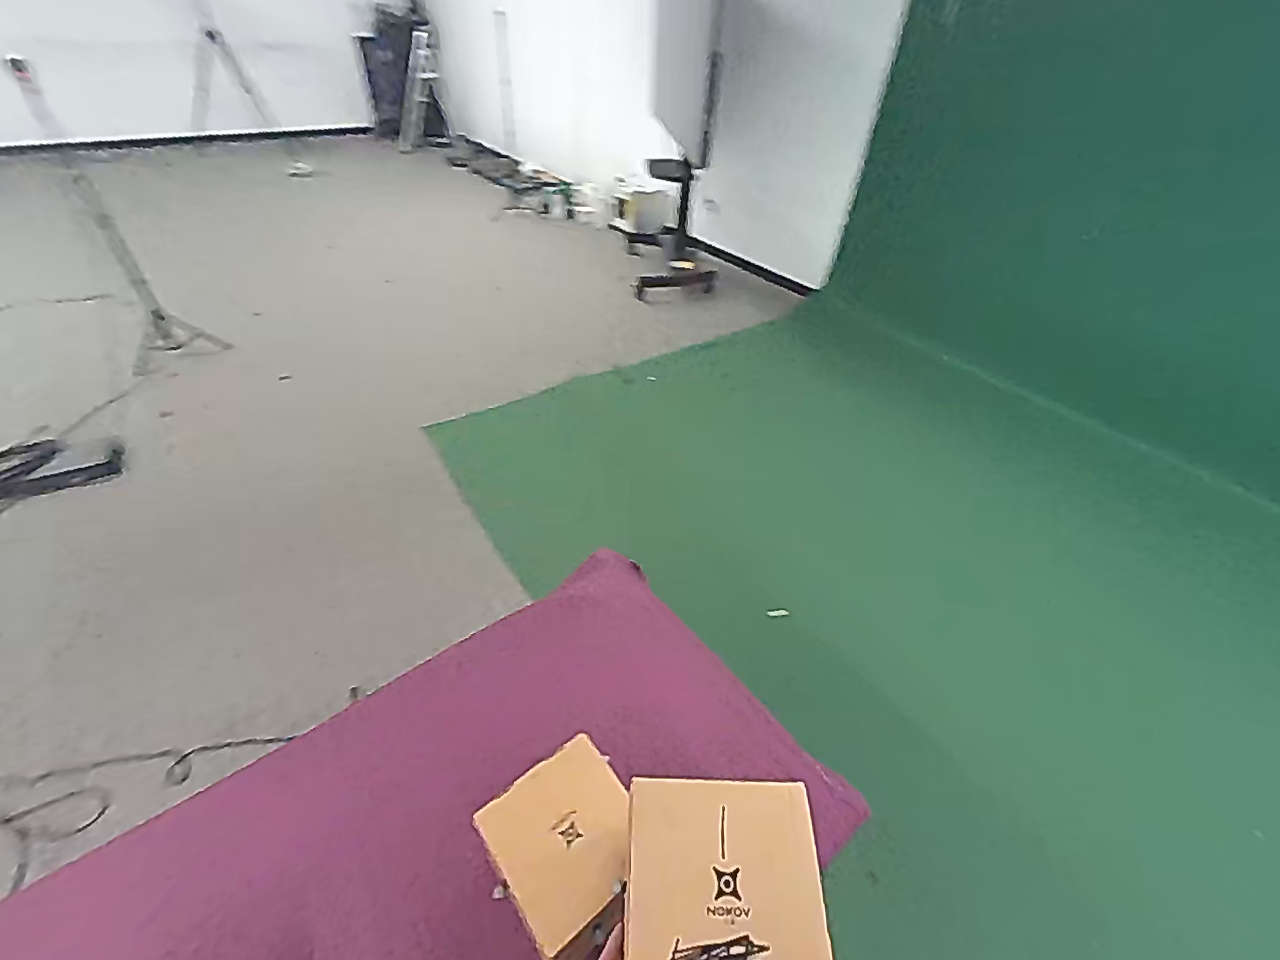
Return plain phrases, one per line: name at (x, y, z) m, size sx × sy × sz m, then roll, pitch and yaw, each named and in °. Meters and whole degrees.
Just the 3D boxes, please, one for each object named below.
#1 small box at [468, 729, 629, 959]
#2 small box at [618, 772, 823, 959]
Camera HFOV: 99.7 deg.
small box at (-0.098, 0.477, 0.708) m, size 0.168 × 0.176 × 0.179 m, roll -28°, pitch 49°, yaw -30°
small box at (0.066, 0.398, 0.516) m, size 0.168 × 0.176 × 0.179 m, roll 4°, pitch 51°, yaw 0°
